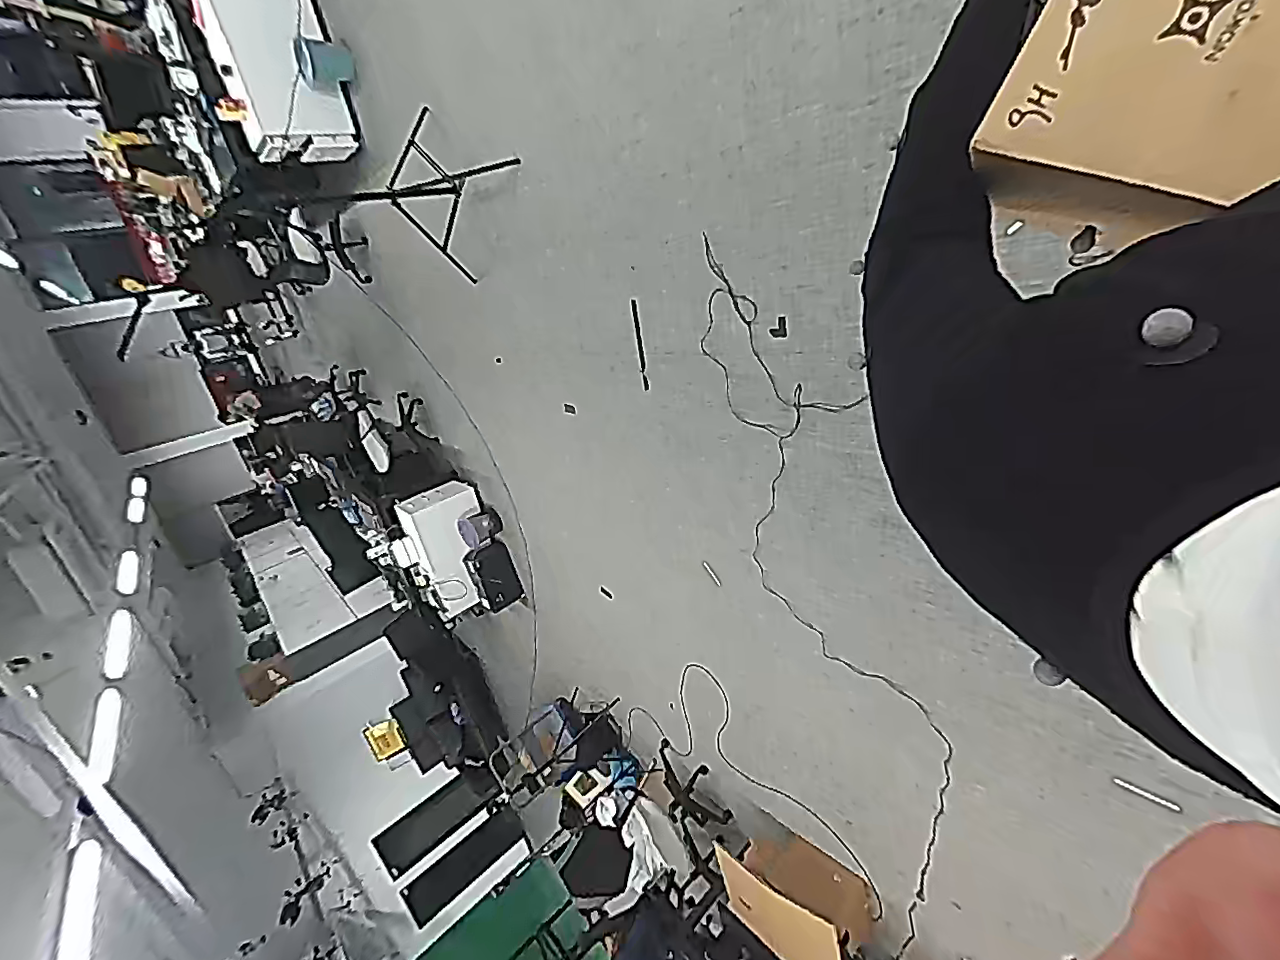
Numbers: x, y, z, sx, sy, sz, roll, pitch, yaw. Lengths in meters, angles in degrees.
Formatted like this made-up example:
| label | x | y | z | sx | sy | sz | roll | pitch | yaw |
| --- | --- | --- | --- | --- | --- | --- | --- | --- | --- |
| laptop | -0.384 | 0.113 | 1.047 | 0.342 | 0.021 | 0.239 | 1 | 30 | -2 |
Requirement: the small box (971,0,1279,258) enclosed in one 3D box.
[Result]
| label | x | y | z | sx | sy | sz | roll | pitch | yaw |
| --- | --- | --- | --- | --- | --- | --- | --- | --- | --- |
| small box | 0.367 | -0.268 | 0.371 | 0.179 | 0.176 | 0.168 | 34 | 116 | 26 |
